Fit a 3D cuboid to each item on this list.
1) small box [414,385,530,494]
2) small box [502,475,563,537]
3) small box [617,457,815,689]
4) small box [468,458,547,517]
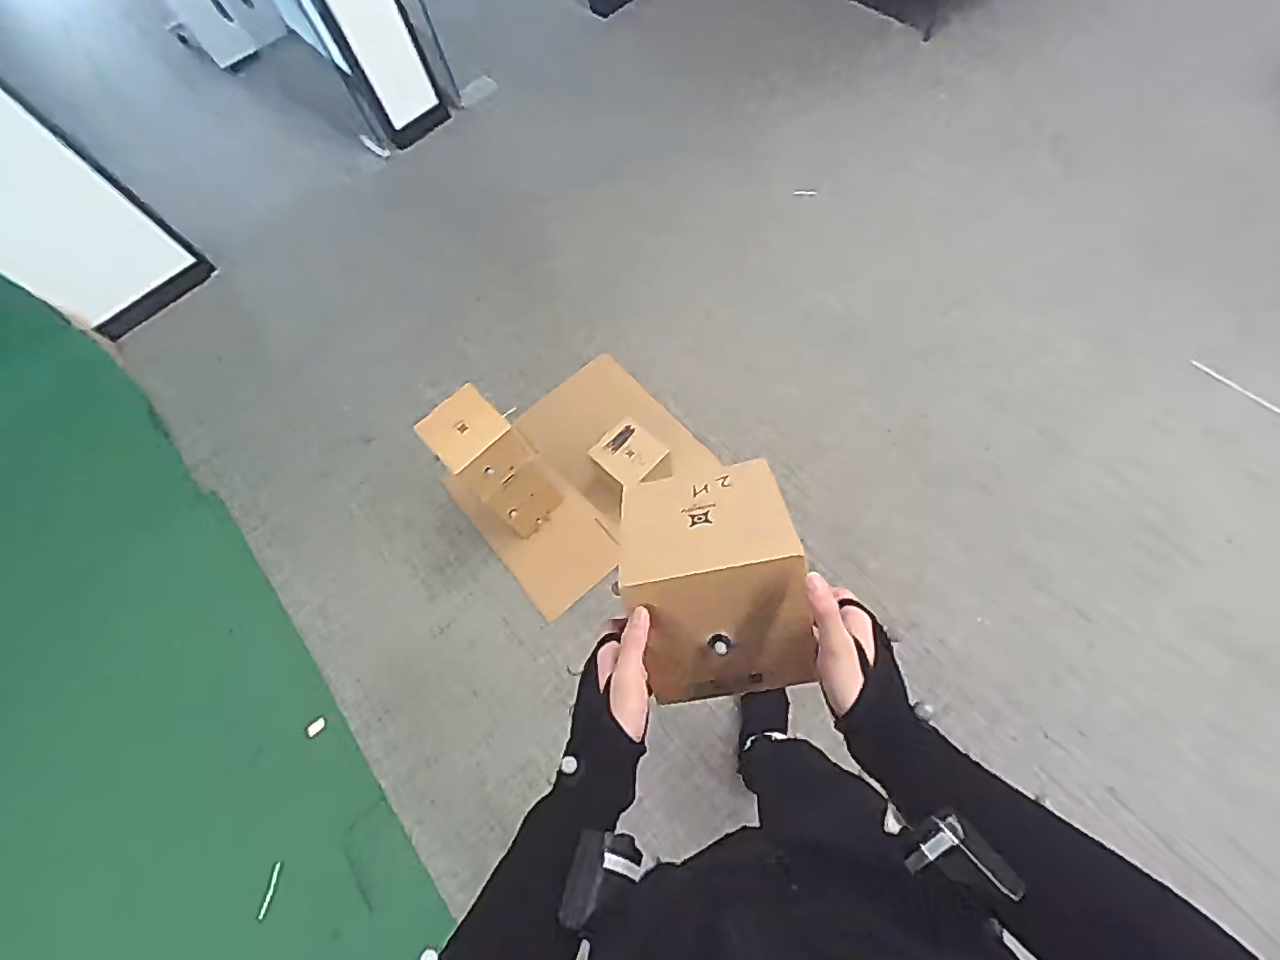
[{"bbox_3d":[-0.391,-0.086,1.293,0.168,0.176,0.179,-43,68,-11],"label":"small box"},{"bbox_3d":[-0.356,0.042,1.591,0.179,0.176,0.168,39,77,19],"label":"small box"},{"bbox_3d":[0.080,0.101,0.576,0.168,0.176,0.179,-11,27,8],"label":"small box"},{"bbox_3d":[-0.375,-0.020,1.441,0.168,0.176,0.179,-44,68,-11],"label":"small box"}]
